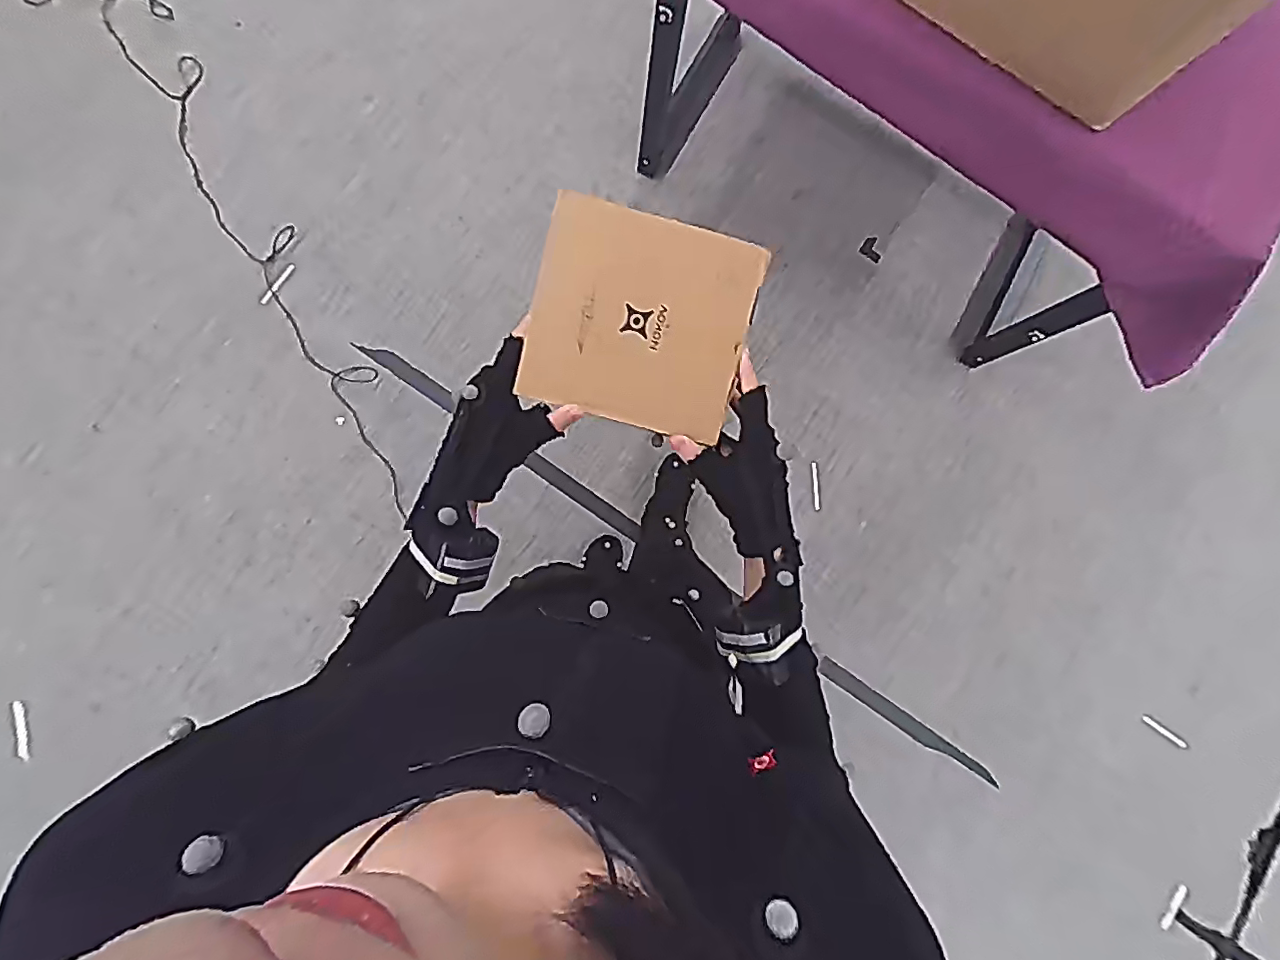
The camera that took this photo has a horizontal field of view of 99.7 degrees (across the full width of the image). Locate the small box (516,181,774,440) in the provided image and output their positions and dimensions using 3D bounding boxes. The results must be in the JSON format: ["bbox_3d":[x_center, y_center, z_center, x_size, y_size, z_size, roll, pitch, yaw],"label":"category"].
[{"bbox_3d":[0.000,-0.140,0.505,0.179,0.176,0.168,13,96,-3],"label":"small box"}]
